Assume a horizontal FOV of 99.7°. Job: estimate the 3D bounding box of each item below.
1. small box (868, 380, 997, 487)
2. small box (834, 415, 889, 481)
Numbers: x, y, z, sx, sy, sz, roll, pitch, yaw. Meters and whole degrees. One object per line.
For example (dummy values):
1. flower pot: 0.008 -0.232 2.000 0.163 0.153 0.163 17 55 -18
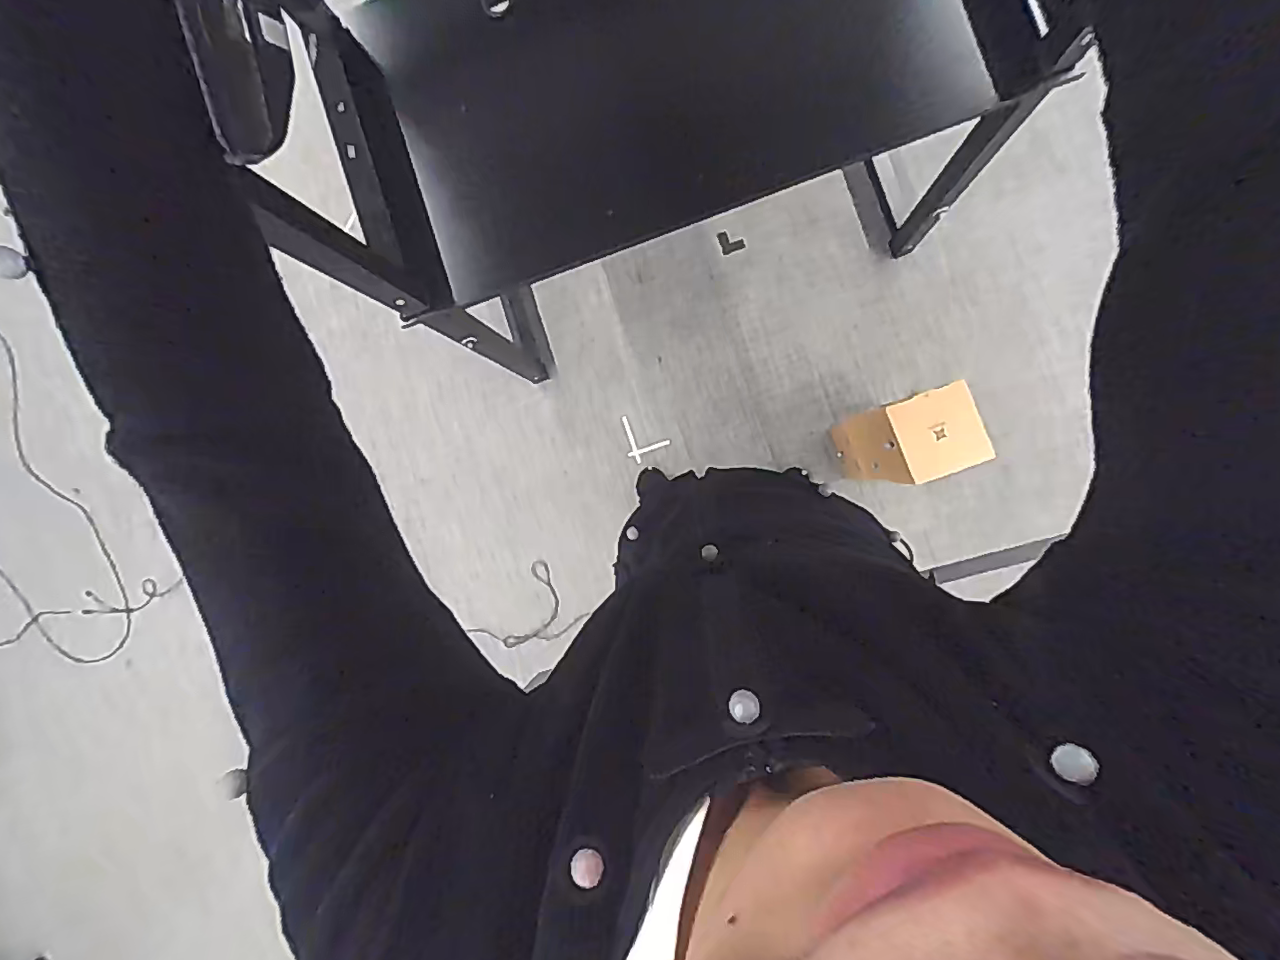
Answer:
1. small box: 0.622 -0.096 1.172 0.168 0.176 0.179 -21 87 8
2. small box: 0.662 -0.102 1.497 0.179 0.176 0.168 -20 87 8
